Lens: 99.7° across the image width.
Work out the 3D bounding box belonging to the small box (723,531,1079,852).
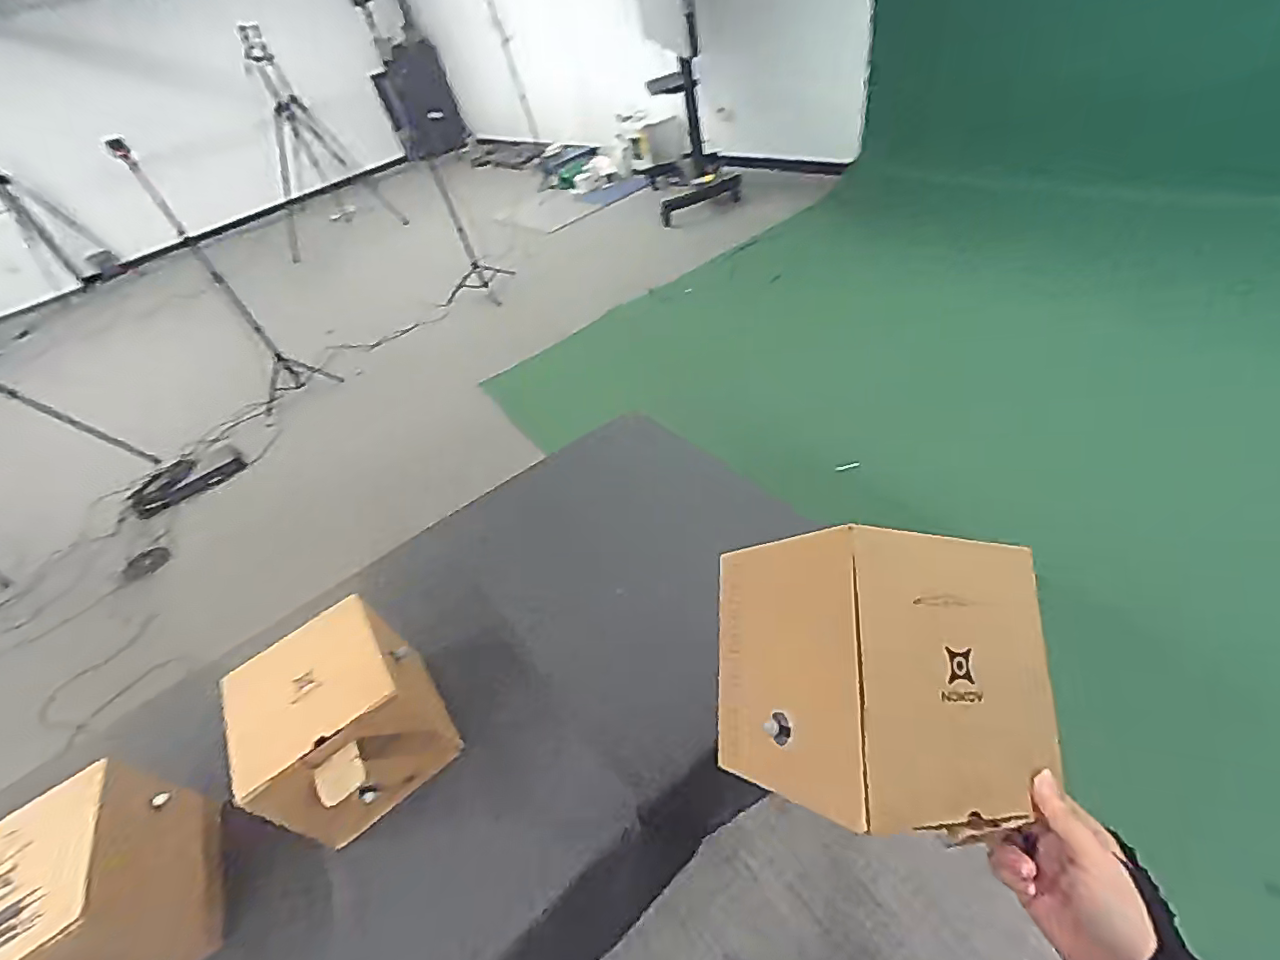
[{"bbox_3d":[0.174,0.146,0.408,0.168,0.176,0.179,9,72,-20],"label":"small box"}]

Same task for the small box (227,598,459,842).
[{"bbox_3d":[-0.349,0.285,0.648,0.168,0.176,0.179,-35,45,-19],"label":"small box"}]
